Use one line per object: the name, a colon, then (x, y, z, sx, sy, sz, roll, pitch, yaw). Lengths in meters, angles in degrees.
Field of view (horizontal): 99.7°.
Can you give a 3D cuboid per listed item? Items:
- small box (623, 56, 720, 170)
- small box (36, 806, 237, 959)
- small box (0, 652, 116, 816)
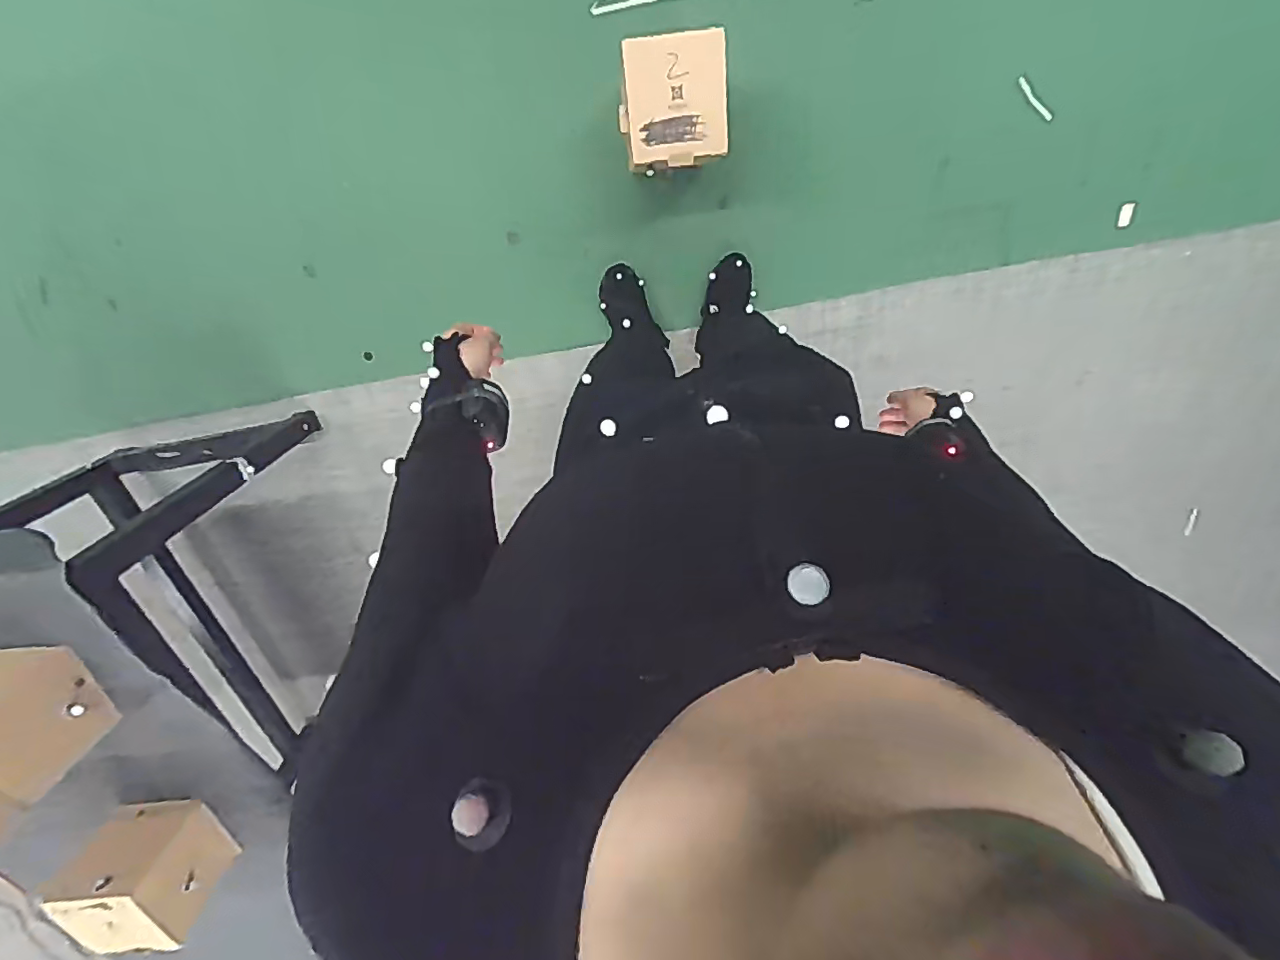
small box: (0.061, -0.736, 1.099, 0.179, 0.176, 0.168, -6, 117, 1)
small box: (-0.892, 0.729, 0.984, 0.168, 0.176, 0.179, -7, 118, 3)
small box: (-0.960, 0.375, 0.800, 0.179, 0.176, 0.168, -4, 118, 2)
